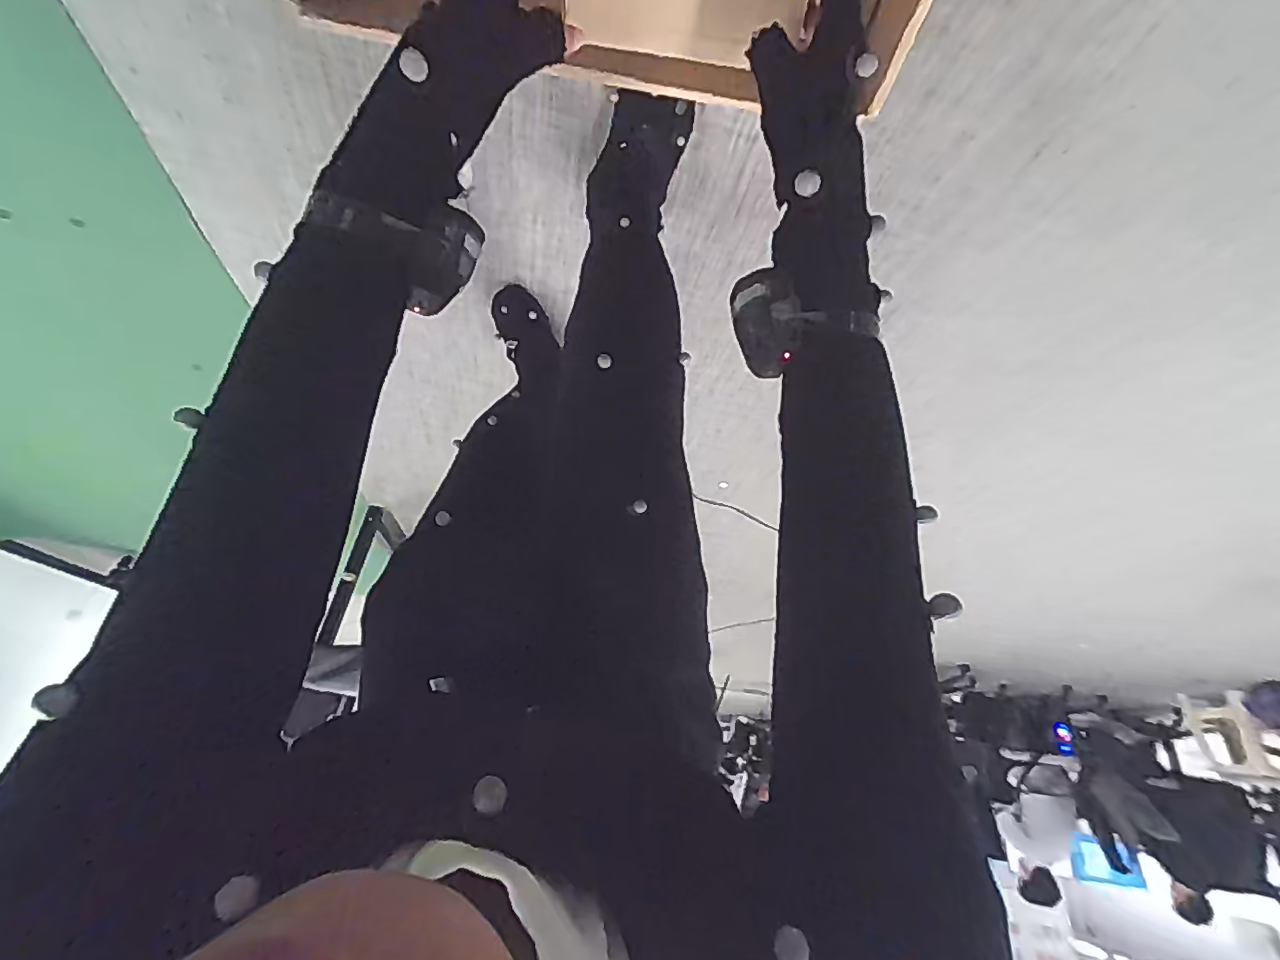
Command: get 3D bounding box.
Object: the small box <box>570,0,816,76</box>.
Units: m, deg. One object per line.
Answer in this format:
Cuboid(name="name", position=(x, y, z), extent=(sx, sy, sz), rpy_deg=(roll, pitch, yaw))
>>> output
Cuboid(name="small box", position=(0.049, -0.434, 0.392), extent=(0.179, 0.176, 0.168), rpy_deg=(7, 147, -2))
